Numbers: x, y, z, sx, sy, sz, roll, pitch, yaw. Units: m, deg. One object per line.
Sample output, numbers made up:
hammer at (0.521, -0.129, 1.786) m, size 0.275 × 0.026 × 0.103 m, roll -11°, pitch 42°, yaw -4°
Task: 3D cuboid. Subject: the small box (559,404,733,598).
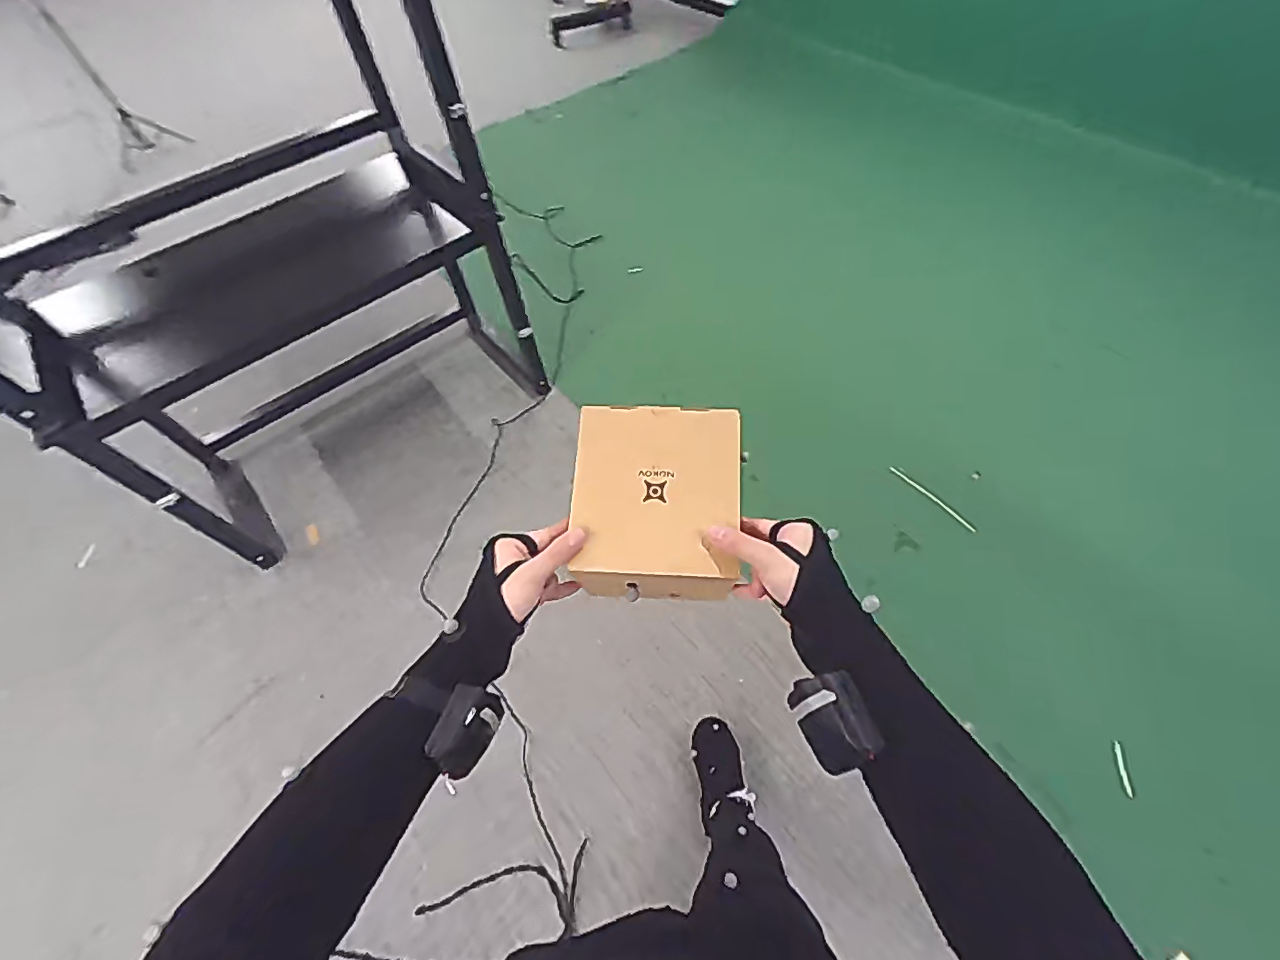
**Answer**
small box at (0.015, 0.032, 0.602) m, size 0.168 × 0.176 × 0.179 m, roll 1°, pitch 69°, yaw 4°
